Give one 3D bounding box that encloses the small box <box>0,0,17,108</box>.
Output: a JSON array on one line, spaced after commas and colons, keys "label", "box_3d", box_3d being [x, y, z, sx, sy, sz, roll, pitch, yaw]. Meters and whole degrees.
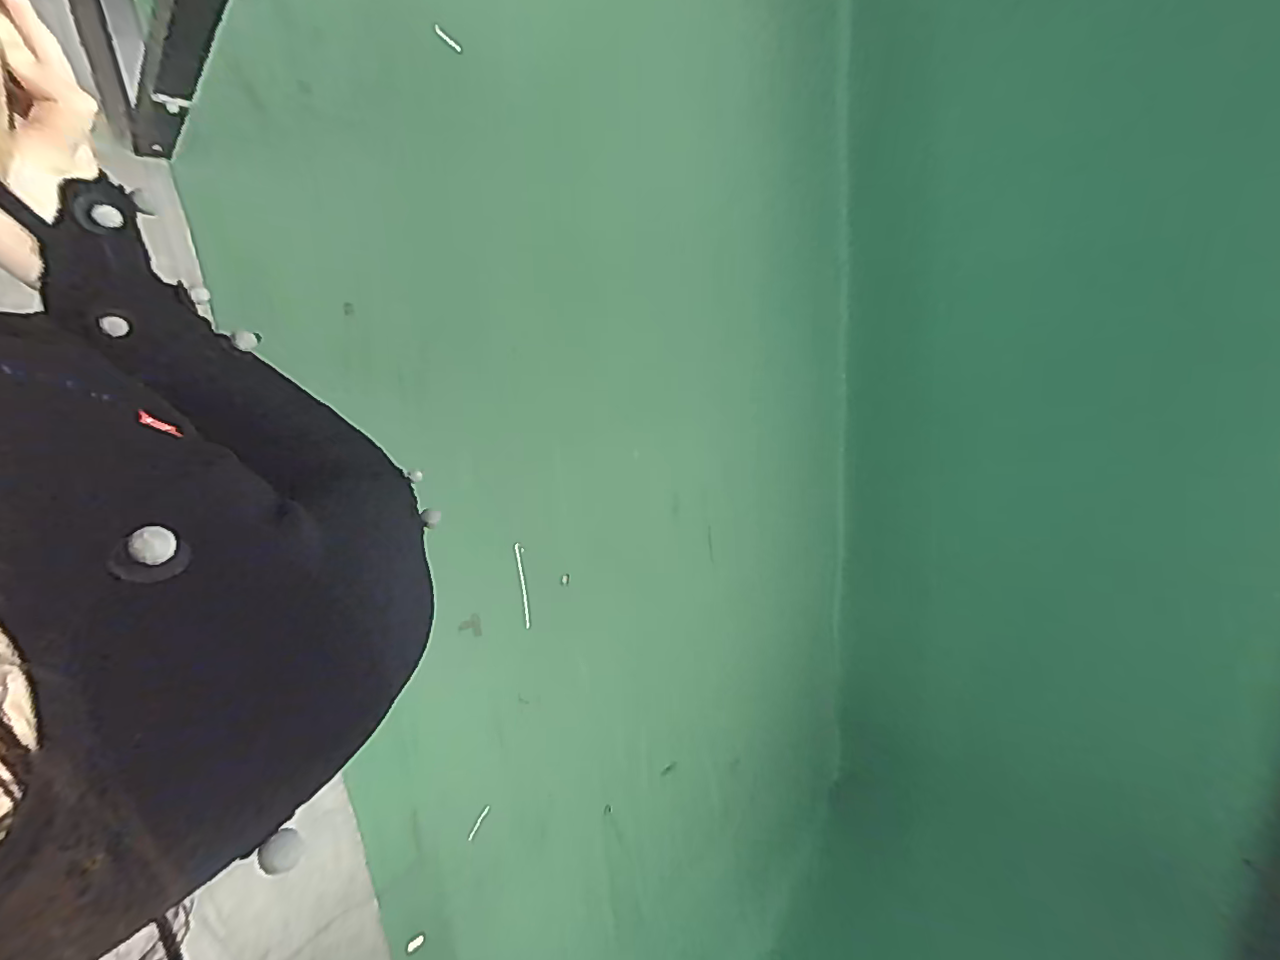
[{"label": "small box", "box_3d": [-0.345, -0.238, 0.175, 0.179, 0.176, 0.168, -5, 124, -46]}]
